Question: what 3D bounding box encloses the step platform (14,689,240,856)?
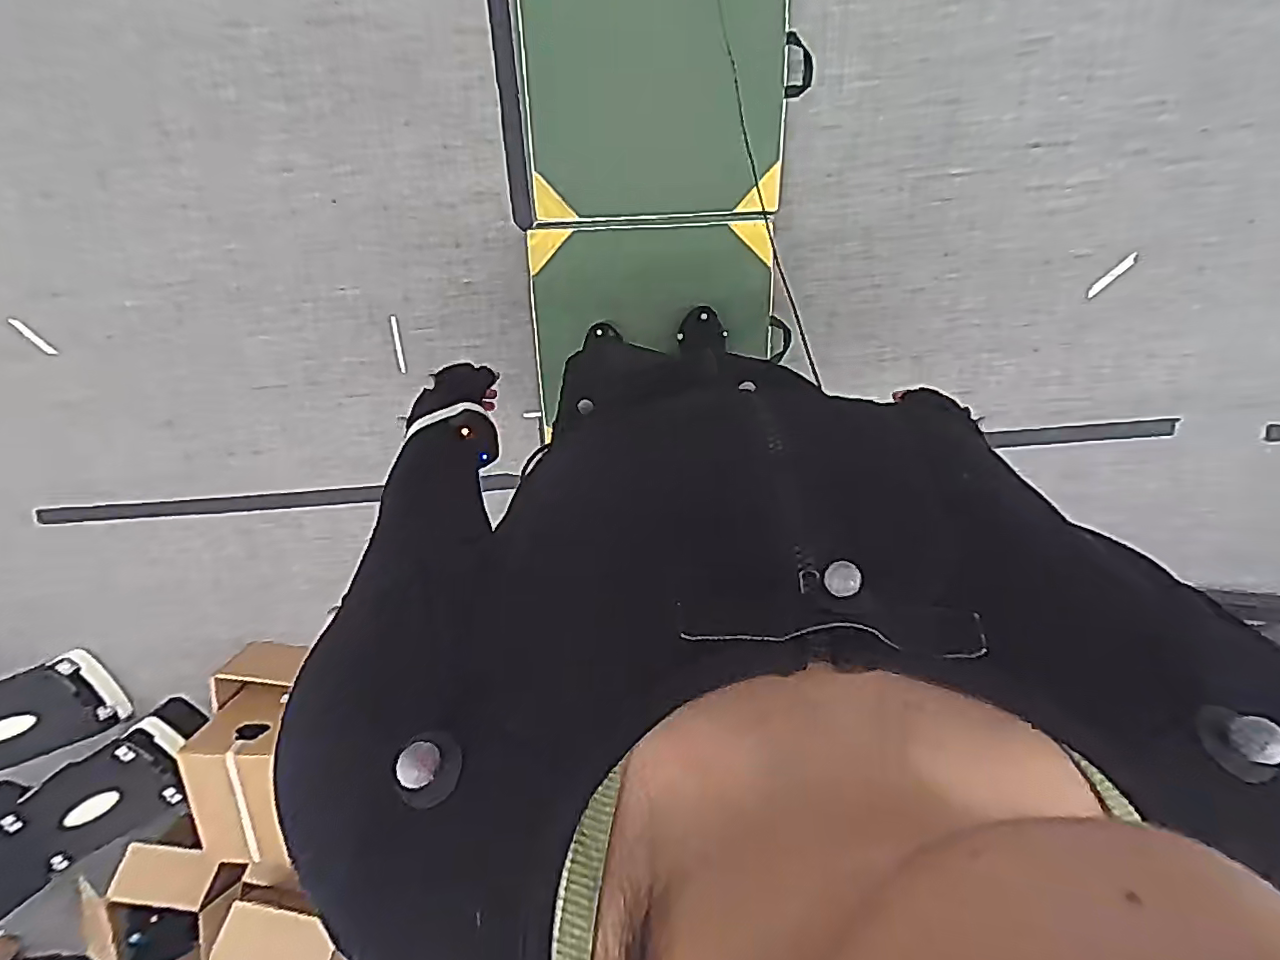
[{"bbox_3d":[-1.755,1.006,1.854,0.684,0.204,0.286,-31,105,10],"label":"step platform"}]
